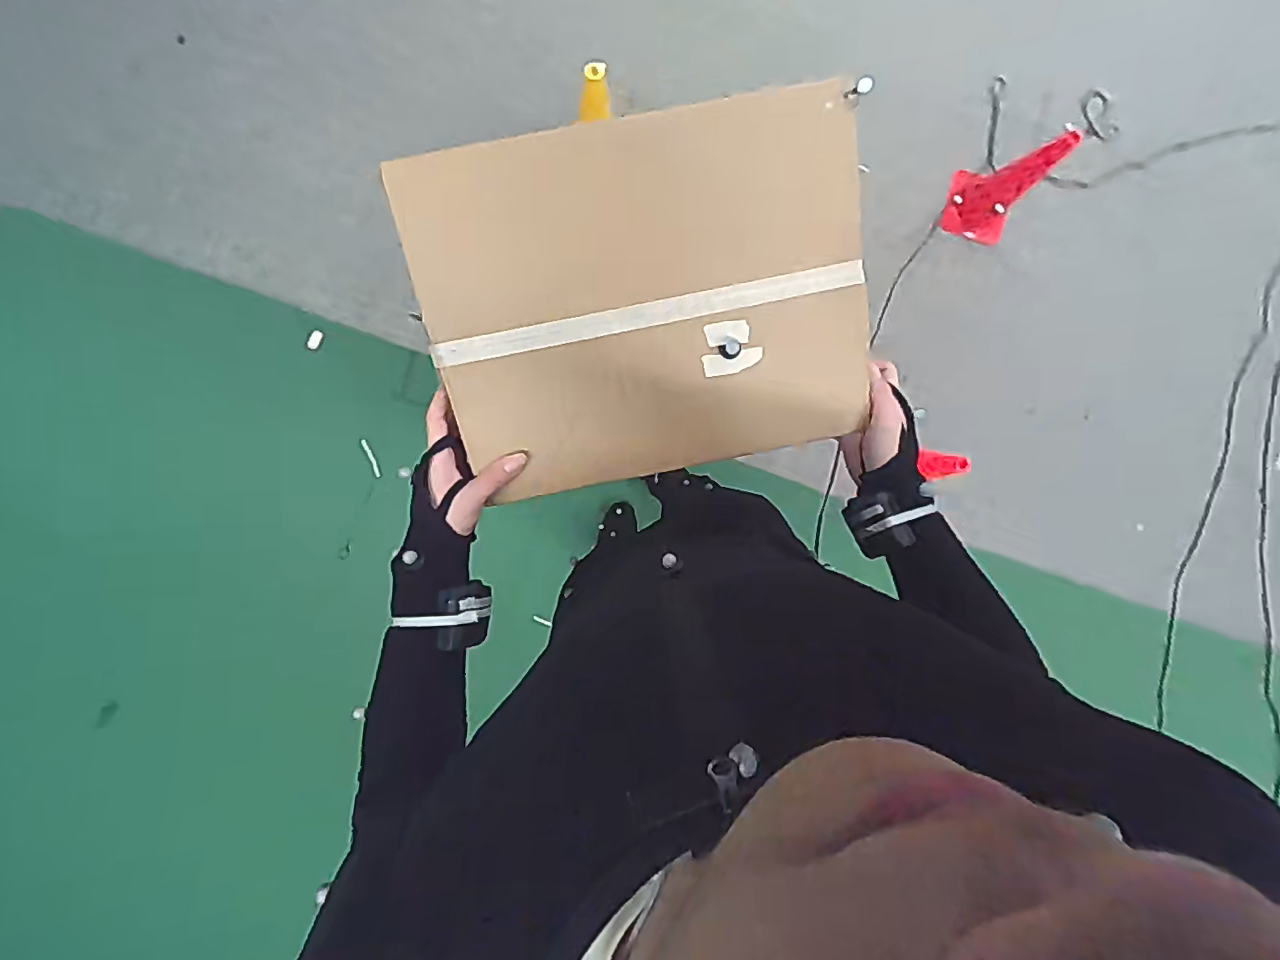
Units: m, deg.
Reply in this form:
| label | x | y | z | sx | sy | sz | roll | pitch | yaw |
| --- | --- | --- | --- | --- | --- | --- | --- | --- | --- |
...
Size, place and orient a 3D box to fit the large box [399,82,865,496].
| label | x | y | z | sx | sy | sz | roll | pitch | yaw |
| --- | --- | --- | --- | --- | --- | --- | --- | --- | --- |
| large box | -0.001 | -0.209 | 0.650 | 0.408 | 0.320 | 0.320 | -11 | 110 | -2 |

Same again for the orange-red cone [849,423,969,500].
| label | x | y | z | sx | sy | sz | roll | pitch | yaw |
| --- | --- | --- | --- | --- | --- | --- | --- | --- | --- |
| orange-red cone | 0.788 | -0.051 | 1.519 | 0.199 | 0.360 | 0.198 | 26 | 90 | -6 |
